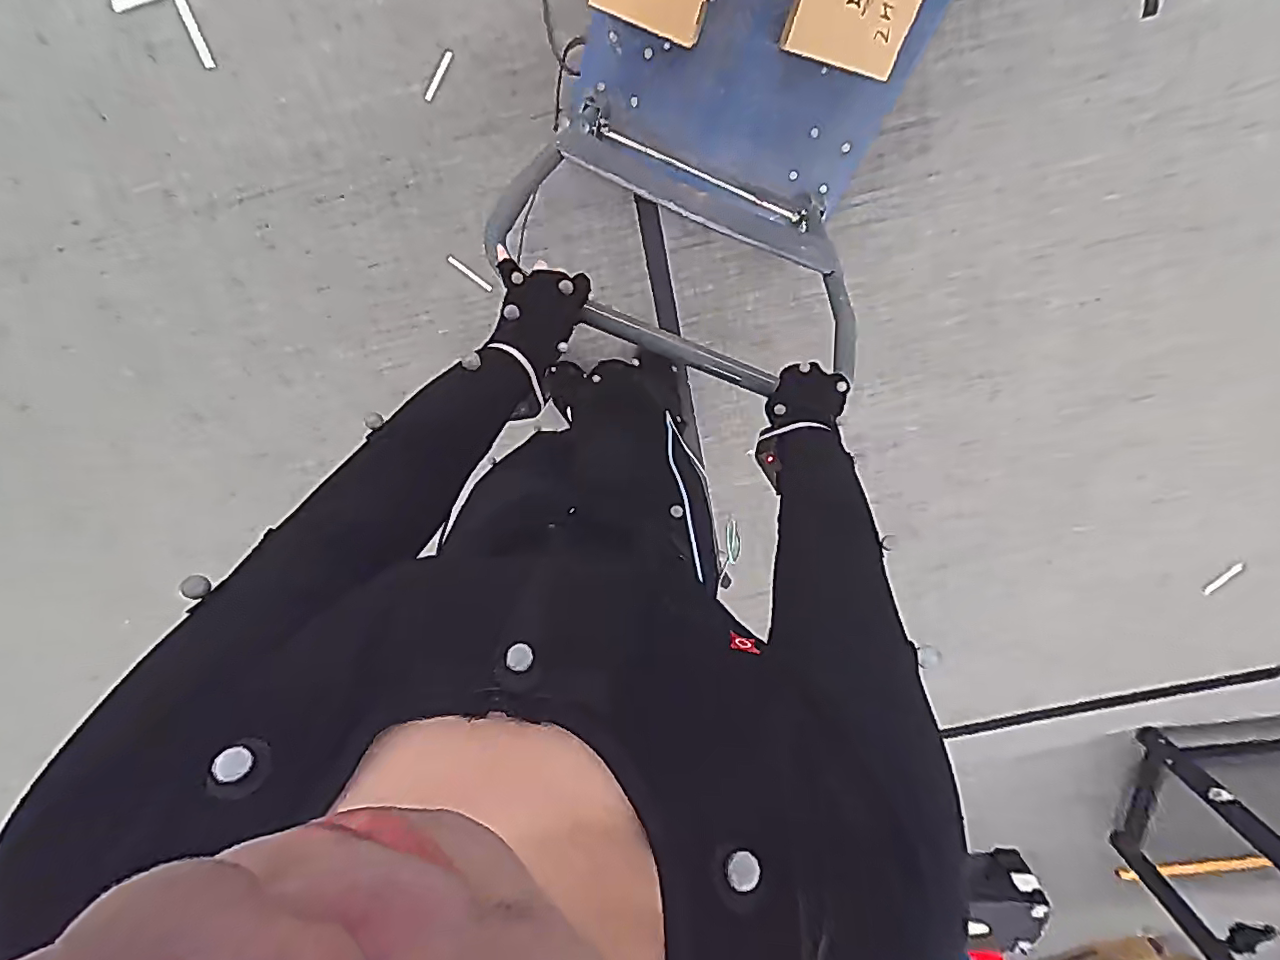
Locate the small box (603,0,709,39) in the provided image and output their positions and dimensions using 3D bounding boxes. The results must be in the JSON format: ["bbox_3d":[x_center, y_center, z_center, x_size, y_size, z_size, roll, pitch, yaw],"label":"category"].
[{"bbox_3d":[0.038,-0.837,0.863,0.179,0.176,0.168,18,131,-7],"label":"small box"}]

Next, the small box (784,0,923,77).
[{"bbox_3d":[0.343,-0.773,0.864,0.179,0.176,0.168,16,131,-3],"label":"small box"}]
